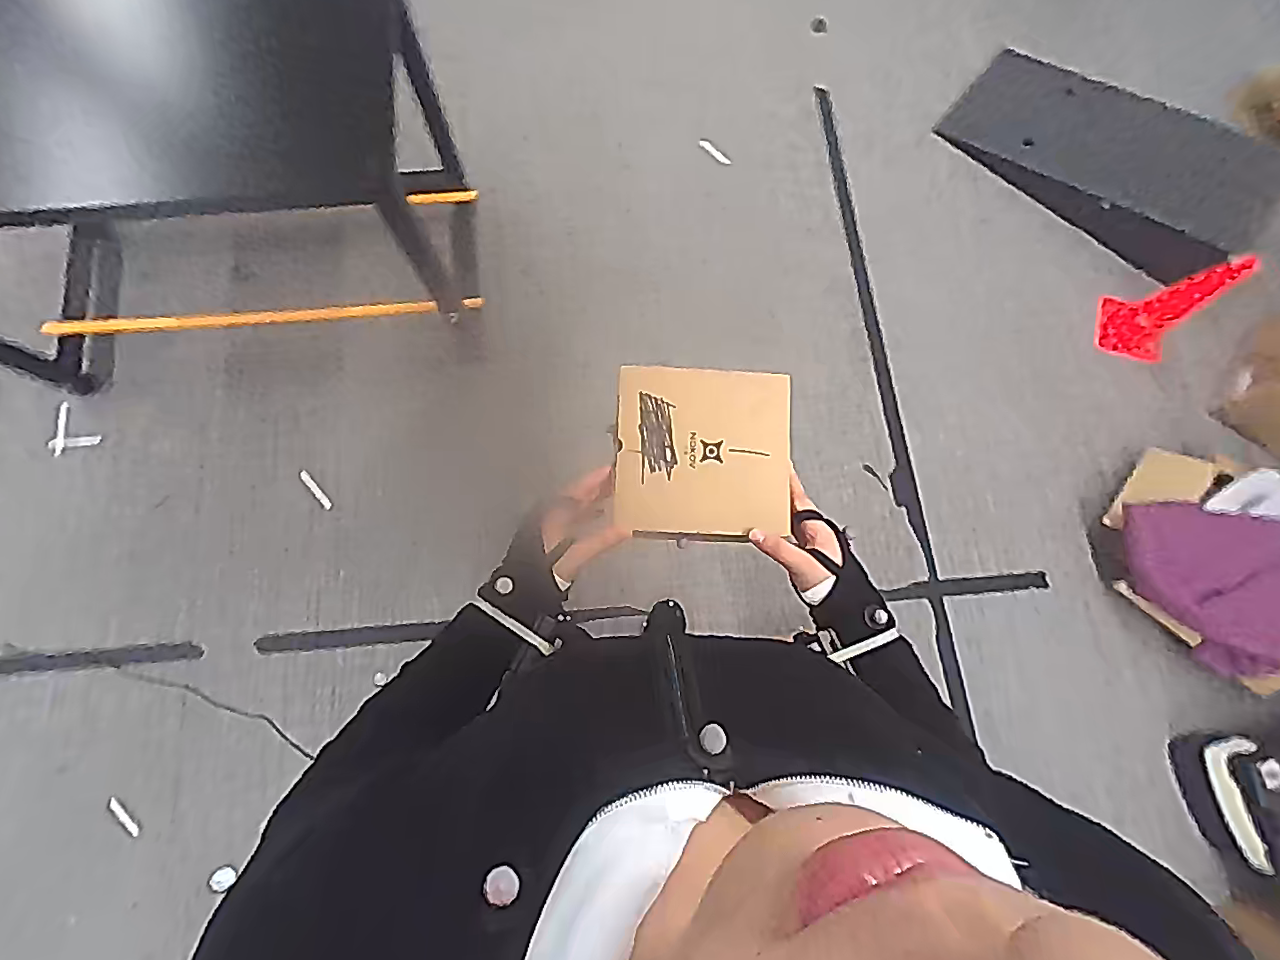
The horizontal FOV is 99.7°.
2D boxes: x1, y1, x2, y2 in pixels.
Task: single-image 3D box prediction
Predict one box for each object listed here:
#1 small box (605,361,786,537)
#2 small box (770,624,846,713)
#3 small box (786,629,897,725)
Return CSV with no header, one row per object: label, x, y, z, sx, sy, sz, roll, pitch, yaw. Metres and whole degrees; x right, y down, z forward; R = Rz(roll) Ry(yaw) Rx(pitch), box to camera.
small box,0.052,-0.023,0.605,0.179,0.176,0.168,2,82,-3
small box,0.453,0.482,1.405,0.168,0.176,0.179,-11,78,-5
small box,0.450,0.445,1.246,0.179,0.176,0.168,-12,78,-4
